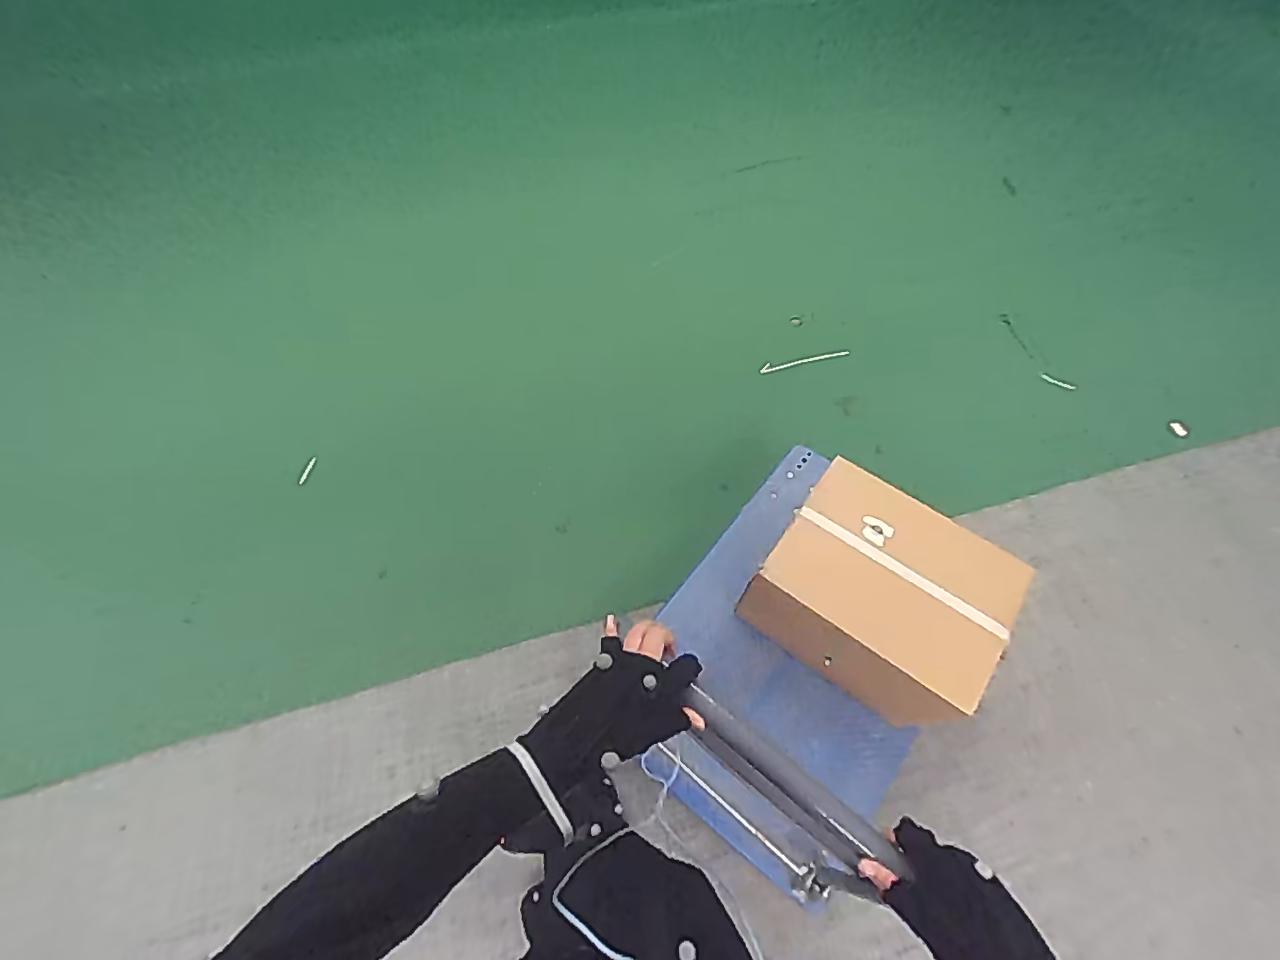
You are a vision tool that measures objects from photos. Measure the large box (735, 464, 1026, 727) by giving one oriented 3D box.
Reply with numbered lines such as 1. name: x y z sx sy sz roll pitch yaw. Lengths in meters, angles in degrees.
1. large box: 0.458 0.244 1.112 0.408 0.320 0.320 33 67 18
